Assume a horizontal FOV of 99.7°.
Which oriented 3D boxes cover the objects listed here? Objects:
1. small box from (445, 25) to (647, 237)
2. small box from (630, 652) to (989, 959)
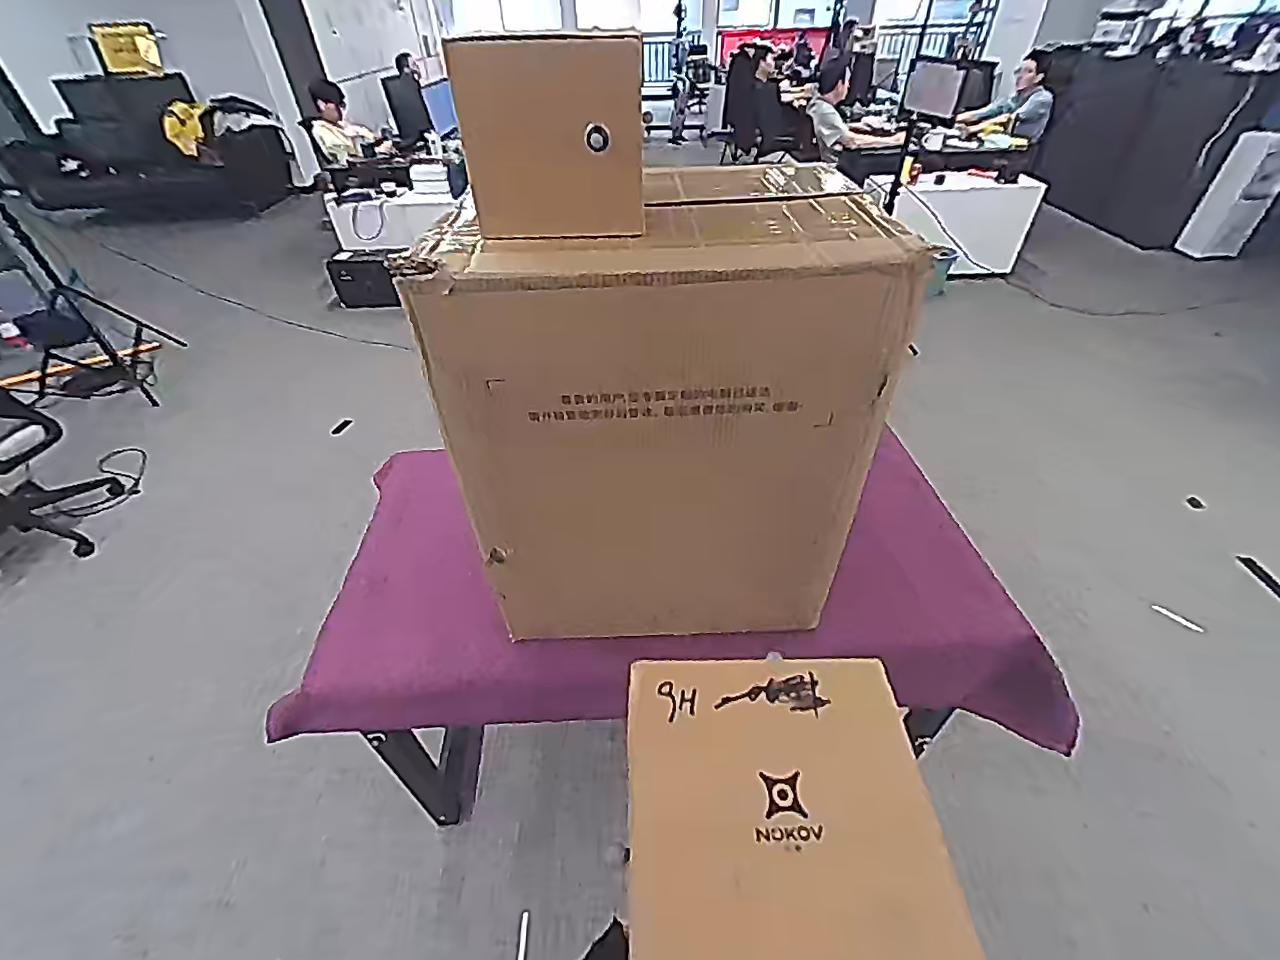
[{"bbox_3d":[-0.083,-0.371,0.577,0.179,0.176,0.168,-3,41,-1],"label":"small box"},{"bbox_3d":[0.078,0.229,0.349,0.168,0.176,0.179,0,48,-2],"label":"small box"}]
